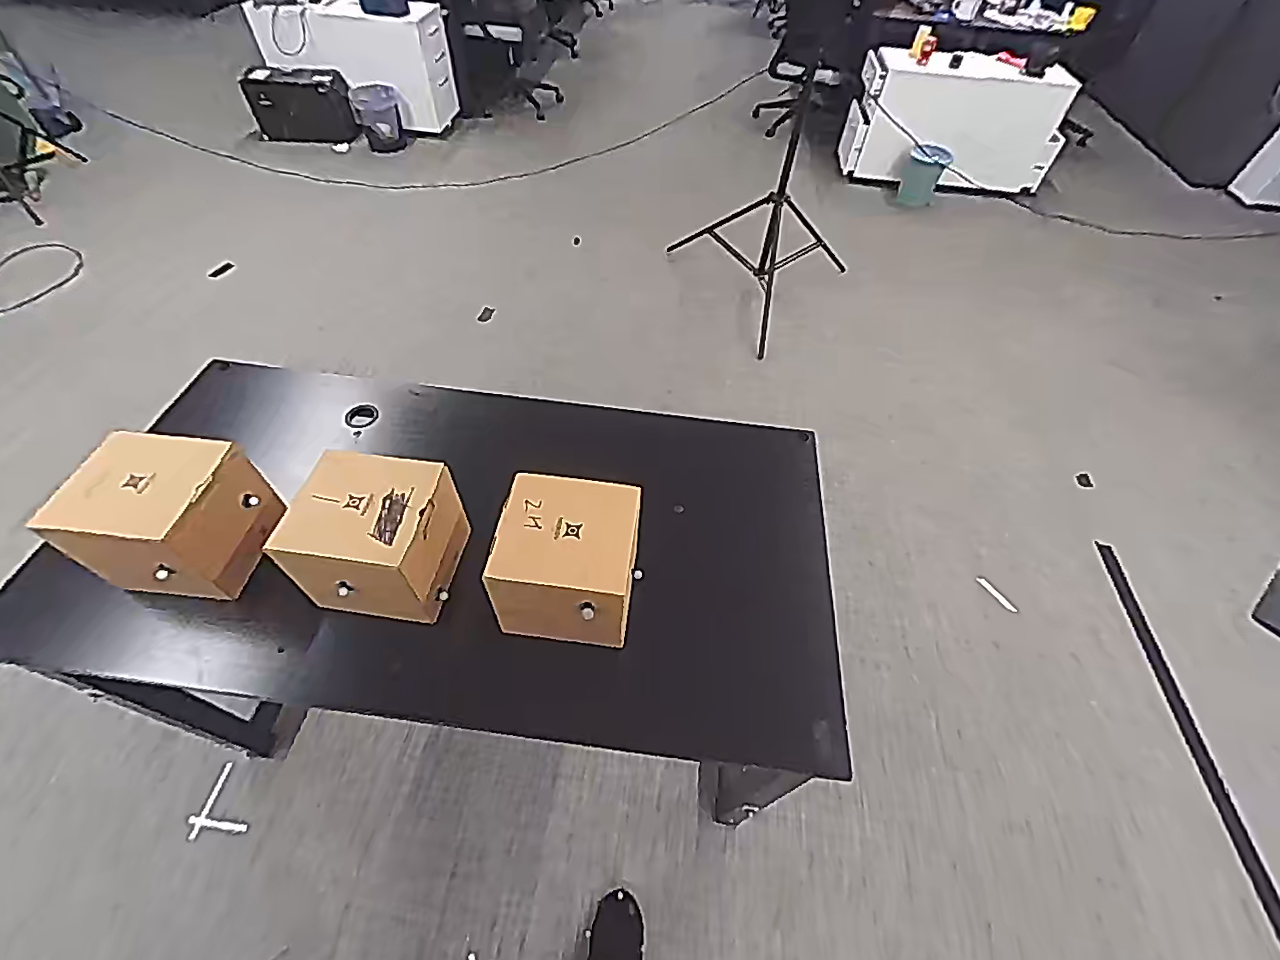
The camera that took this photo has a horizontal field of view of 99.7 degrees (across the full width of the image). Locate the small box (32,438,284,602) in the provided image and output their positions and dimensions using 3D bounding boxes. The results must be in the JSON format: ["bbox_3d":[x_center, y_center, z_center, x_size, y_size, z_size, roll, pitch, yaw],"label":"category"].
[{"bbox_3d":[-0.660,0.061,0.774,0.179,0.176,0.168,4,51,1],"label":"small box"}]

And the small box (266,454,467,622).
[{"bbox_3d":[-0.366,0.088,0.768,0.179,0.176,0.168,7,52,3],"label":"small box"}]

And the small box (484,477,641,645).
[{"bbox_3d":[-0.097,0.118,0.759,0.179,0.176,0.168,6,51,2],"label":"small box"}]
